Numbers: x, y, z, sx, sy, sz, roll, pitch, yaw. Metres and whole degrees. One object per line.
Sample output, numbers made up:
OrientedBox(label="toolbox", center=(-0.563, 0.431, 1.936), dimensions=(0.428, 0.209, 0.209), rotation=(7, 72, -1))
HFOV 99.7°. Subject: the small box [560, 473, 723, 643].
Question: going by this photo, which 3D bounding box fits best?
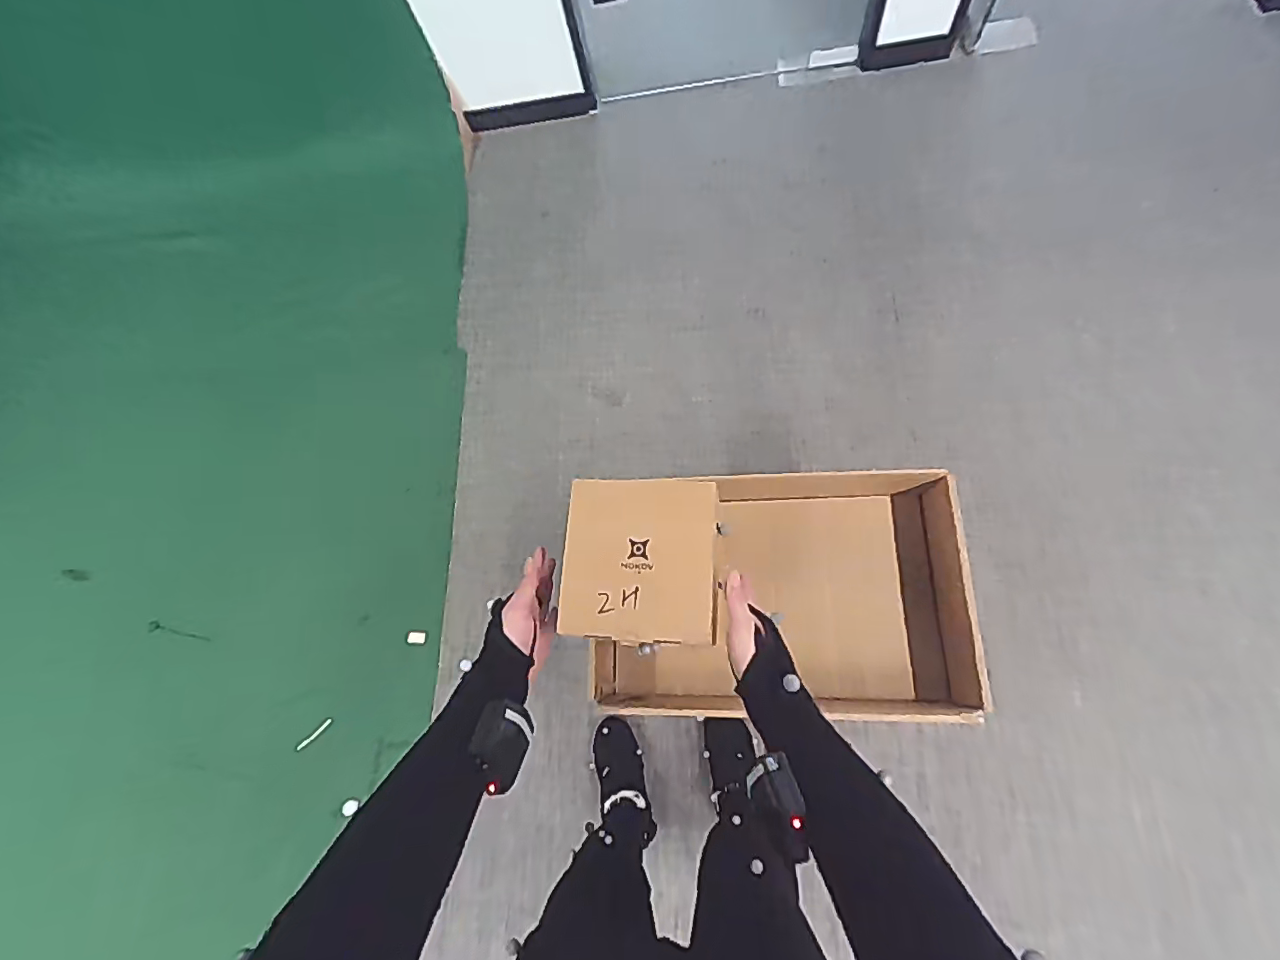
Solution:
OrientedBox(label="small box", center=(0.014, 0.101, 0.661), dimensions=(0.168, 0.176, 0.179), rotation=(2, 74, 11))
